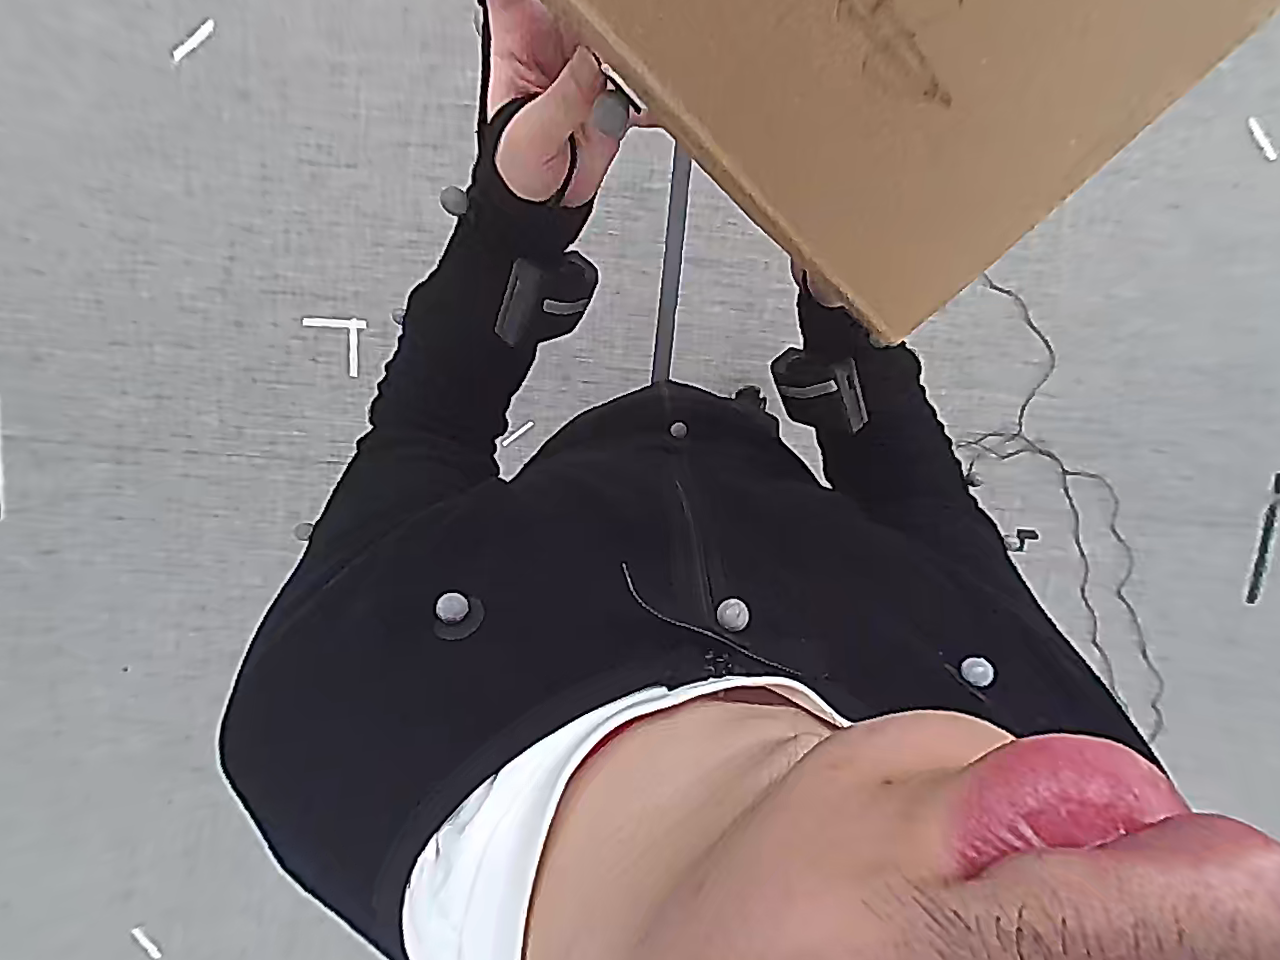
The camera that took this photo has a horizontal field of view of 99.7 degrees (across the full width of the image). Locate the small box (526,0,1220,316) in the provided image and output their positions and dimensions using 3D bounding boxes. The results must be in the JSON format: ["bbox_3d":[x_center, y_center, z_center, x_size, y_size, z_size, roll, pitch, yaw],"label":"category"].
[{"bbox_3d":[0.063,-0.195,0.172,0.168,0.176,0.179,31,117,-26],"label":"small box"}]
